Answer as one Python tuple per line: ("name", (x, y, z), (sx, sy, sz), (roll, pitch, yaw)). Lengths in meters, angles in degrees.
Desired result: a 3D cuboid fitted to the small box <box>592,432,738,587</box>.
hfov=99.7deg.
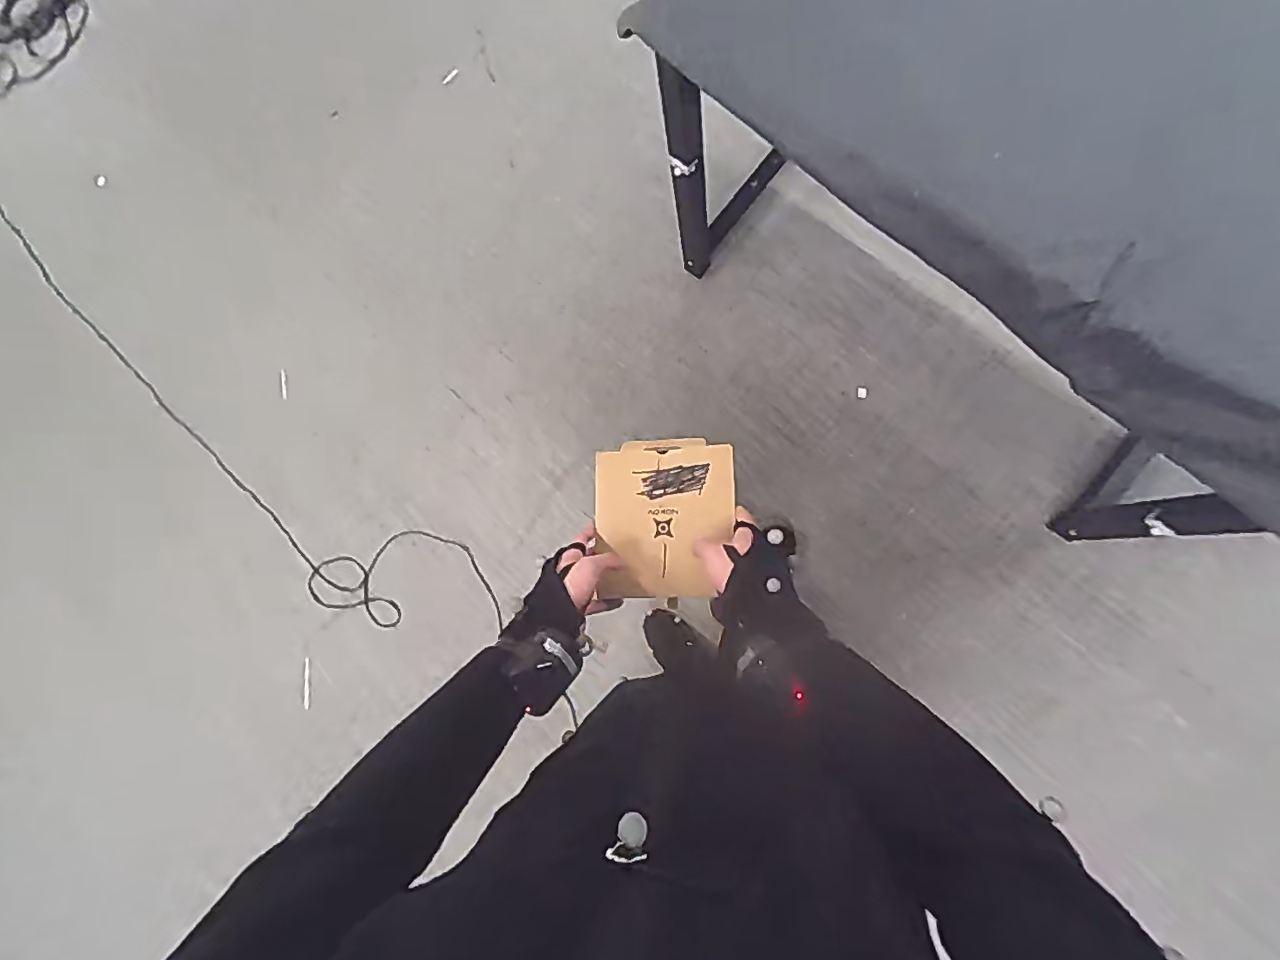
("small box", (0.039, 0.047, 0.693), (0.168, 0.176, 0.179), (-3, 80, 10))
